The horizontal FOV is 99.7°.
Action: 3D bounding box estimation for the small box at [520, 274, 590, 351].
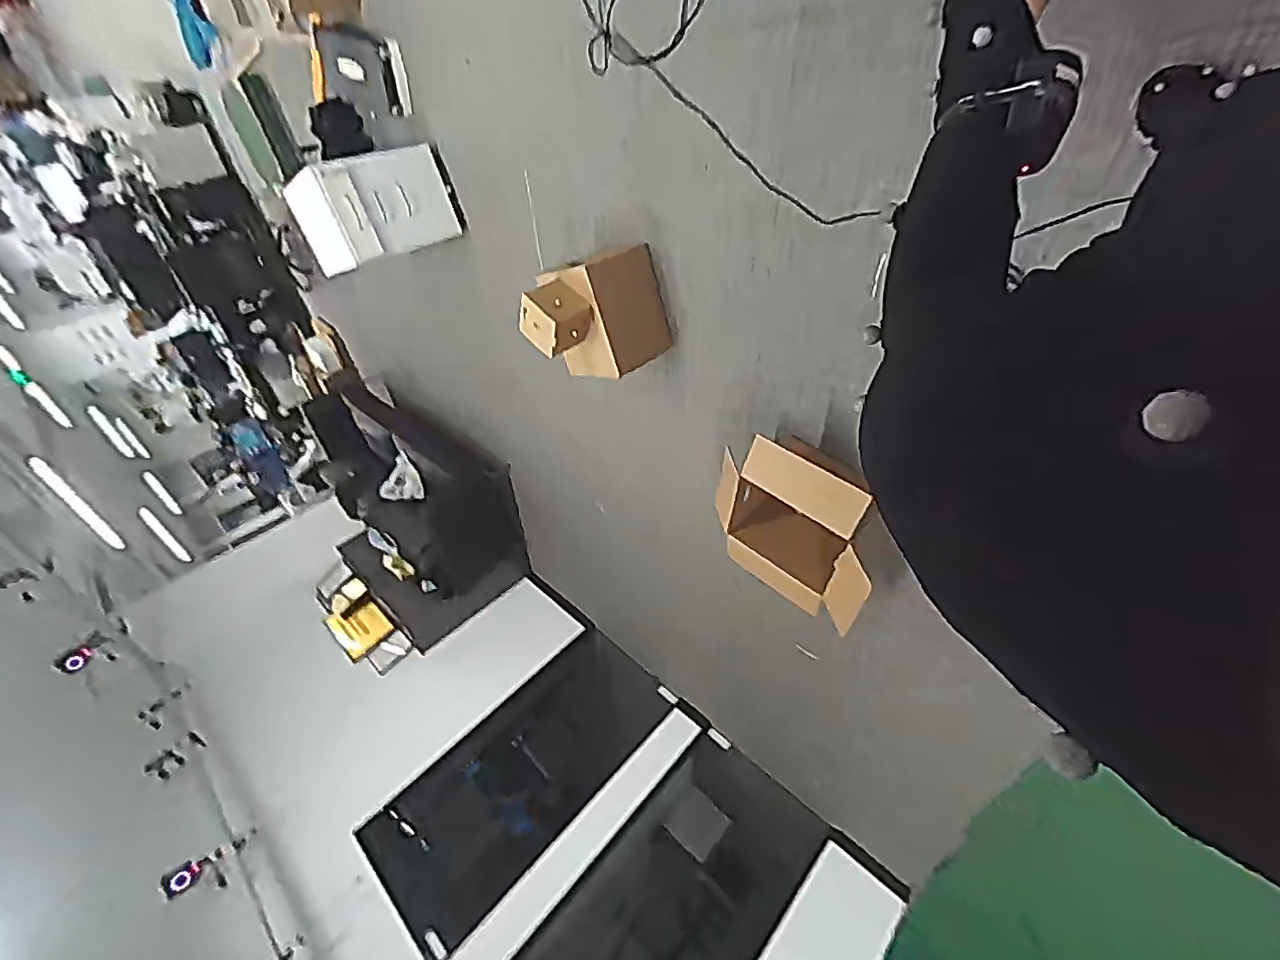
[{"bbox_3d":[-0.299,-0.594,1.903,0.179,0.176,0.168,43,146,13],"label":"small box"}]
